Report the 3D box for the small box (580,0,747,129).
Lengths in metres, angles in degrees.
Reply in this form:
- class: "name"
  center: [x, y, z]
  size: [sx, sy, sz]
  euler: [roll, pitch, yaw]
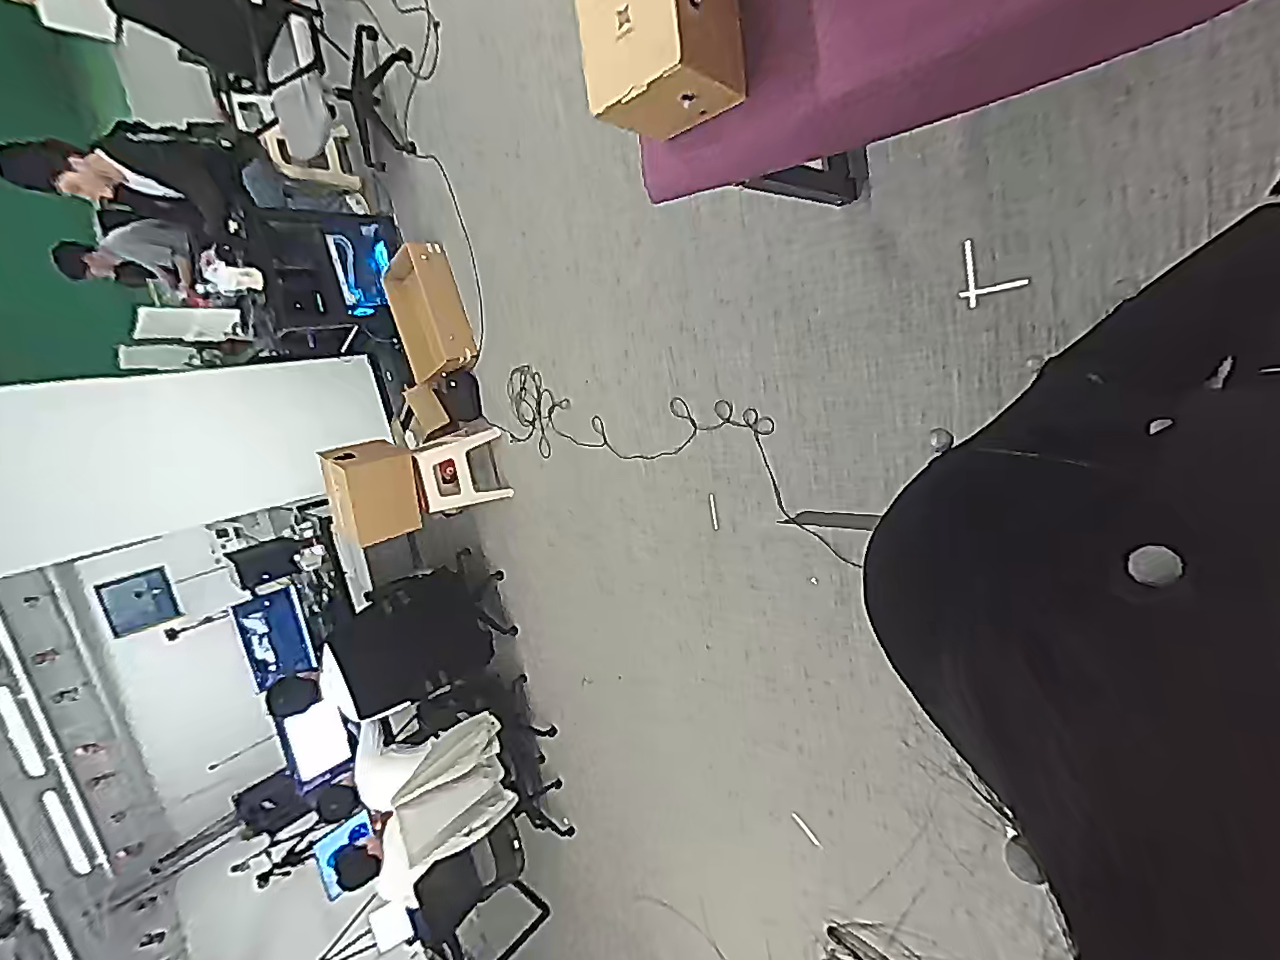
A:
- class: "small box"
  center: [0.038, -0.627, 0.765]
  size: [0.168, 0.176, 0.179]
  euler: [2, 104, 41]
